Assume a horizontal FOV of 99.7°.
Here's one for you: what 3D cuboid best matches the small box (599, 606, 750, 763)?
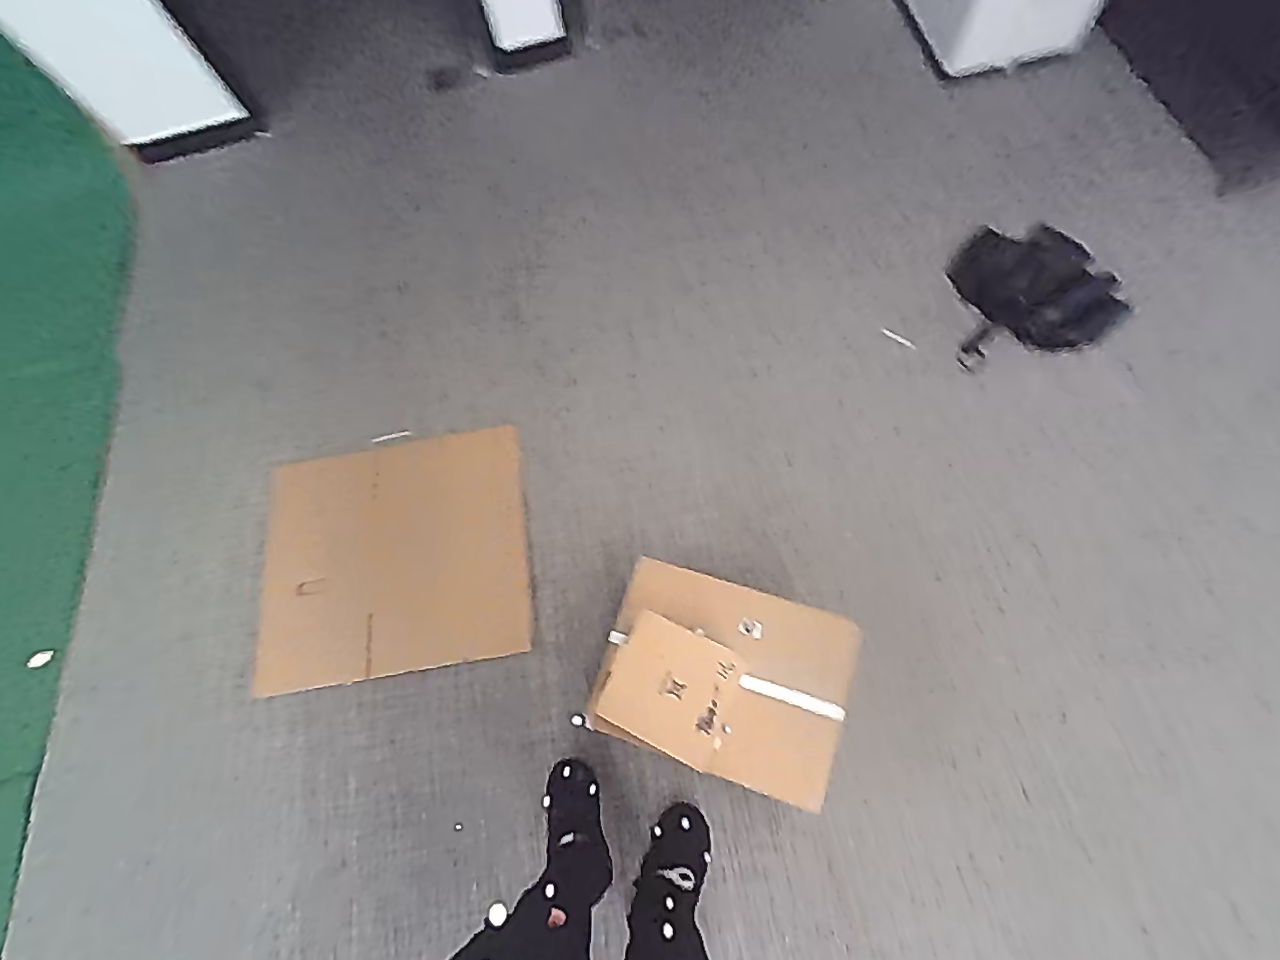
[{"bbox_3d":[0.058,0.323,0.857,0.179,0.176,0.168,21,72,14],"label":"small box"}]
